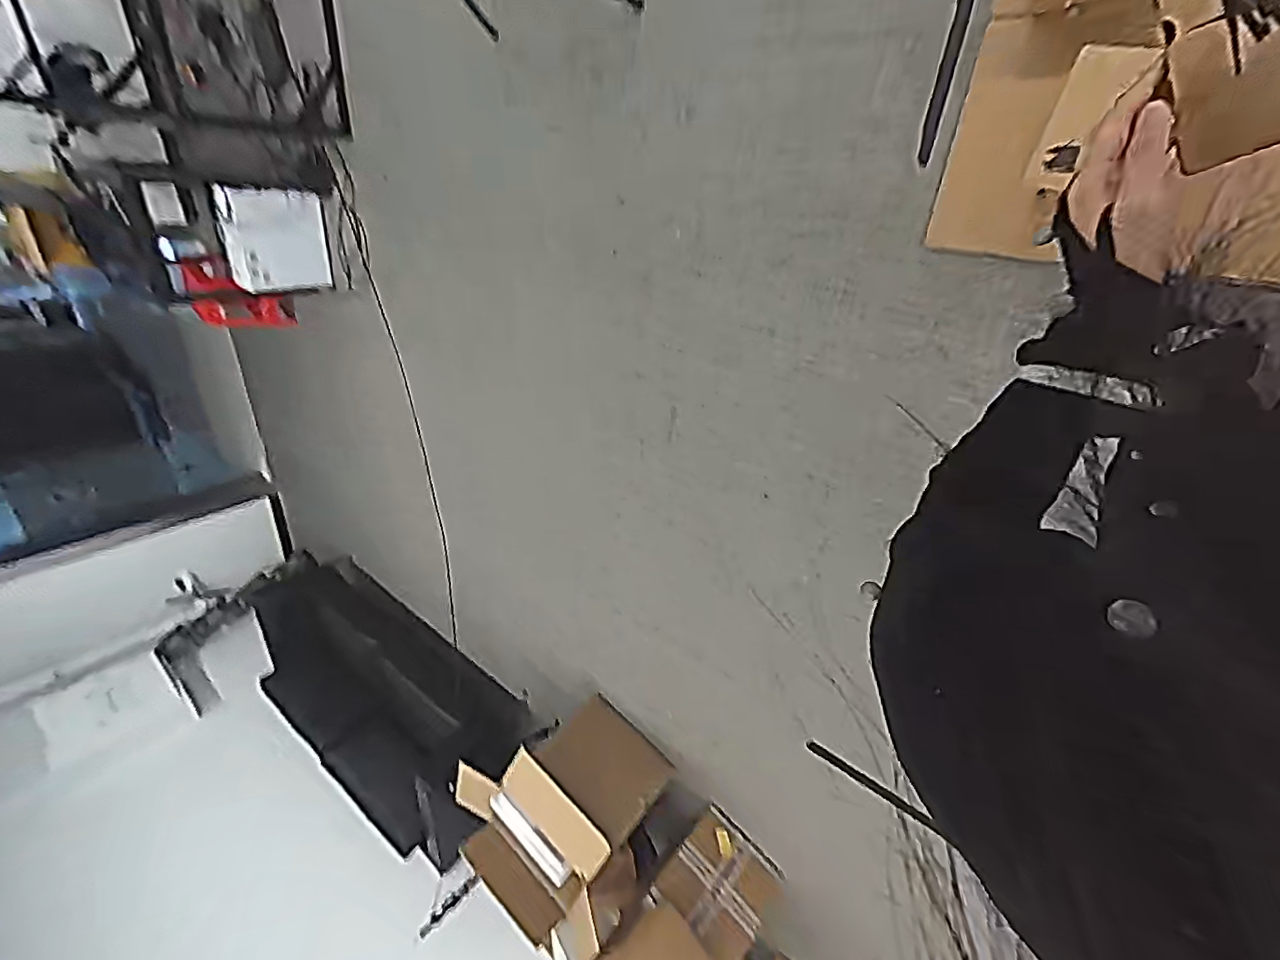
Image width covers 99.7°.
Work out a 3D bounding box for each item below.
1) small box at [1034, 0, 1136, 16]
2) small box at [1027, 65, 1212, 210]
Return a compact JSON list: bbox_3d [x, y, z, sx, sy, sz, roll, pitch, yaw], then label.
[{"bbox_3d":[0.734,-0.876,0.849,0.168,0.176,0.179,20,121,35],"label":"small box"},{"bbox_3d":[0.808,-0.577,0.922,0.168,0.176,0.179,32,129,26],"label":"small box"}]
